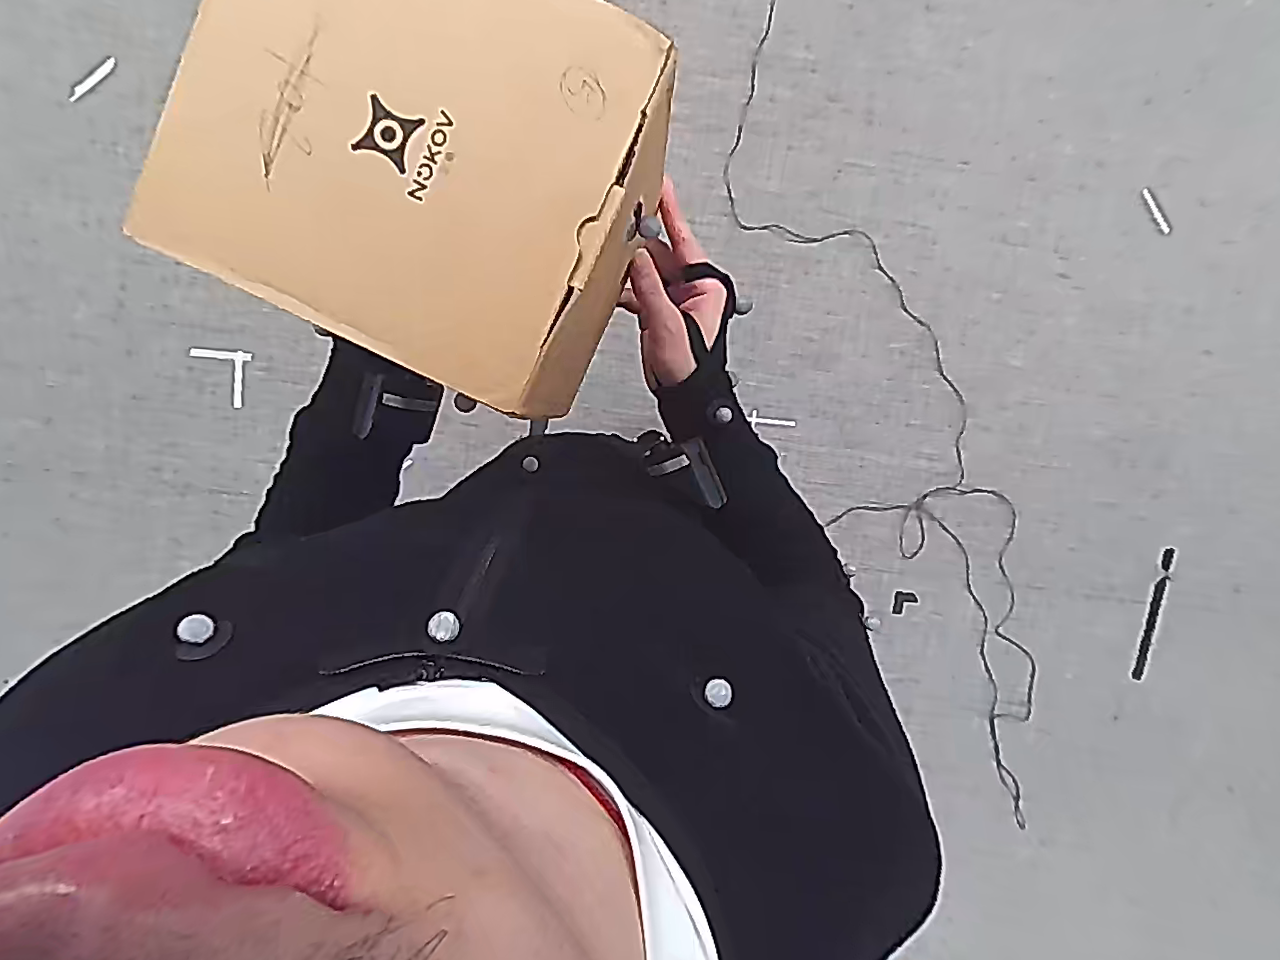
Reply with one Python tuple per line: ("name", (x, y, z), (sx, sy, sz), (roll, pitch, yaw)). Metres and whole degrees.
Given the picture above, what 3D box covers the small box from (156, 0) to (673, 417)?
("small box", (-0.097, -0.146, 0.308), (0.179, 0.176, 0.168), (24, 95, -3))
